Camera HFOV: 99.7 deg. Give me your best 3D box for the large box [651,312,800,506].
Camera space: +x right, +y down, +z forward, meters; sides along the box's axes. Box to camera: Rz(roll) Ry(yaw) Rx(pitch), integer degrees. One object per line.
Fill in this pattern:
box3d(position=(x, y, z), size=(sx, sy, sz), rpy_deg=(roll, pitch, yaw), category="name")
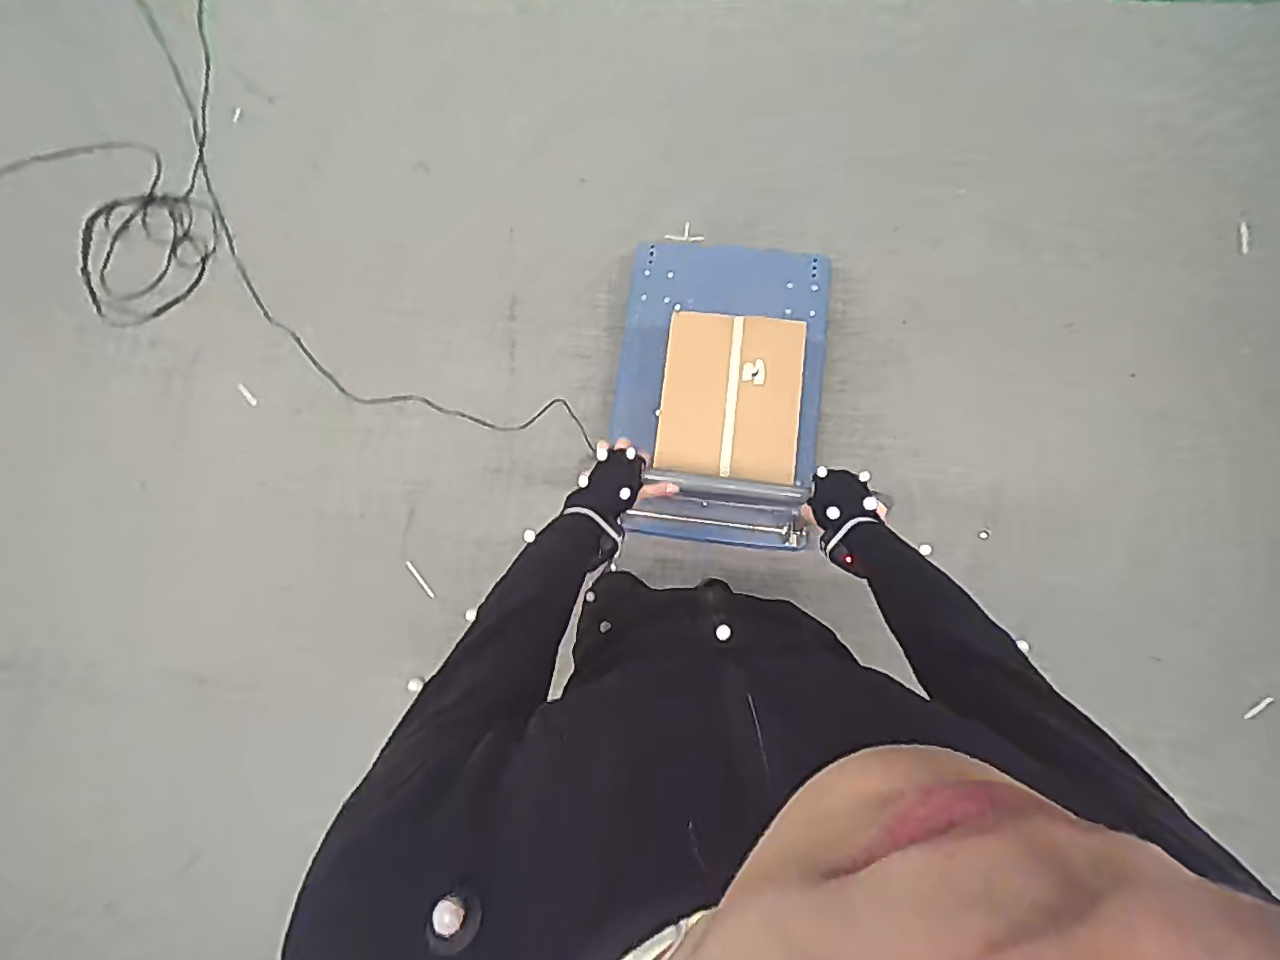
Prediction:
box3d(position=(0.207, -0.160, 1.377), size=(0.320, 0.320, 0.408), rpy_deg=(7, 80, 4), category="large box")
